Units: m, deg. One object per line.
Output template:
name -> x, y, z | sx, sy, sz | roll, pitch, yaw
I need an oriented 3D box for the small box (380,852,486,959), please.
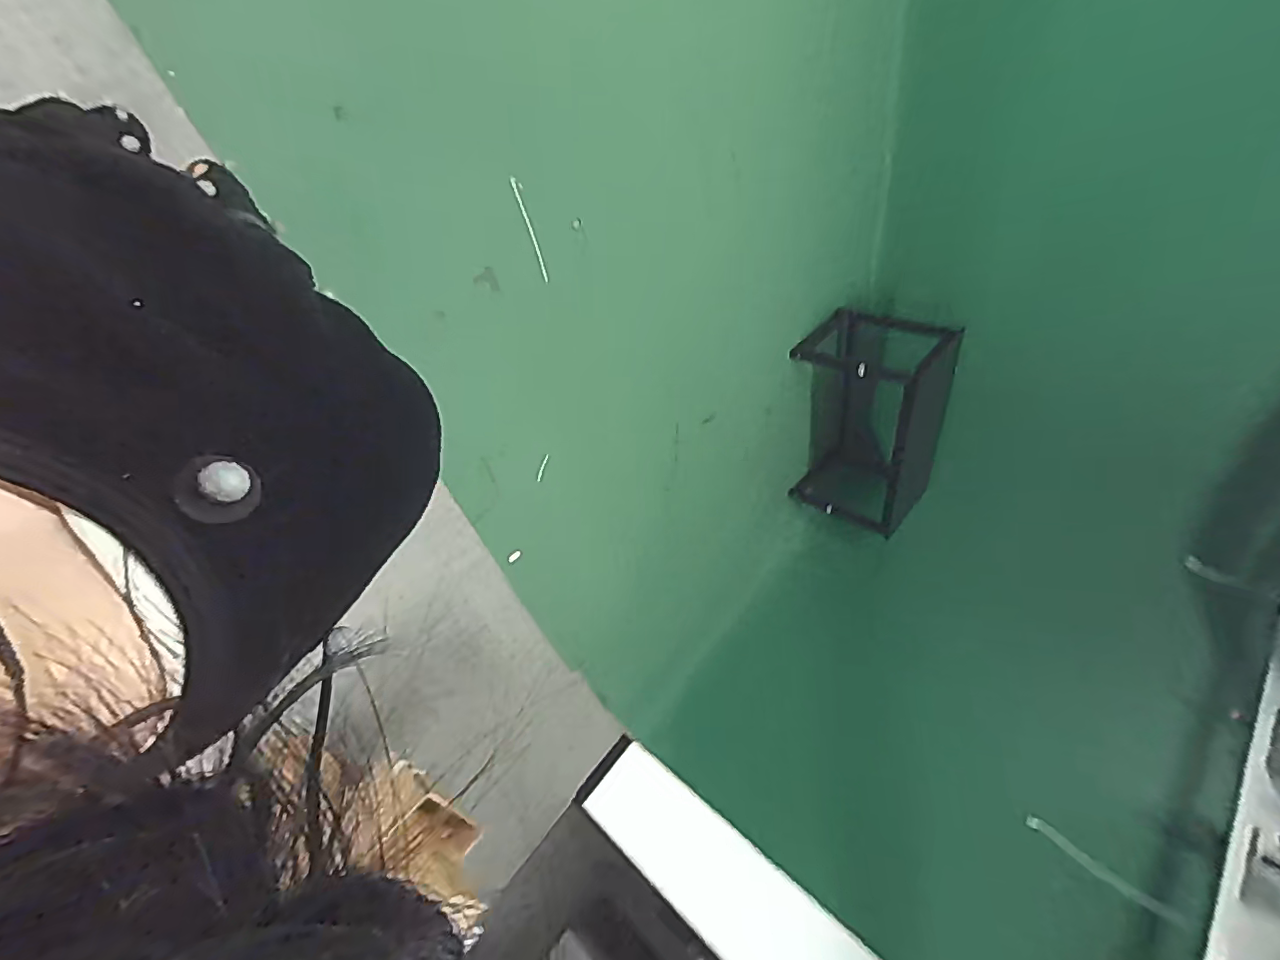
small box -> -0.552, 1.133, 1.438 | 0.168, 0.176, 0.179 | -44, 138, -23

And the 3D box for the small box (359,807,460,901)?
small box -> -0.660, 1.080, 1.550 | 0.168, 0.176, 0.179 | -45, 139, -23
